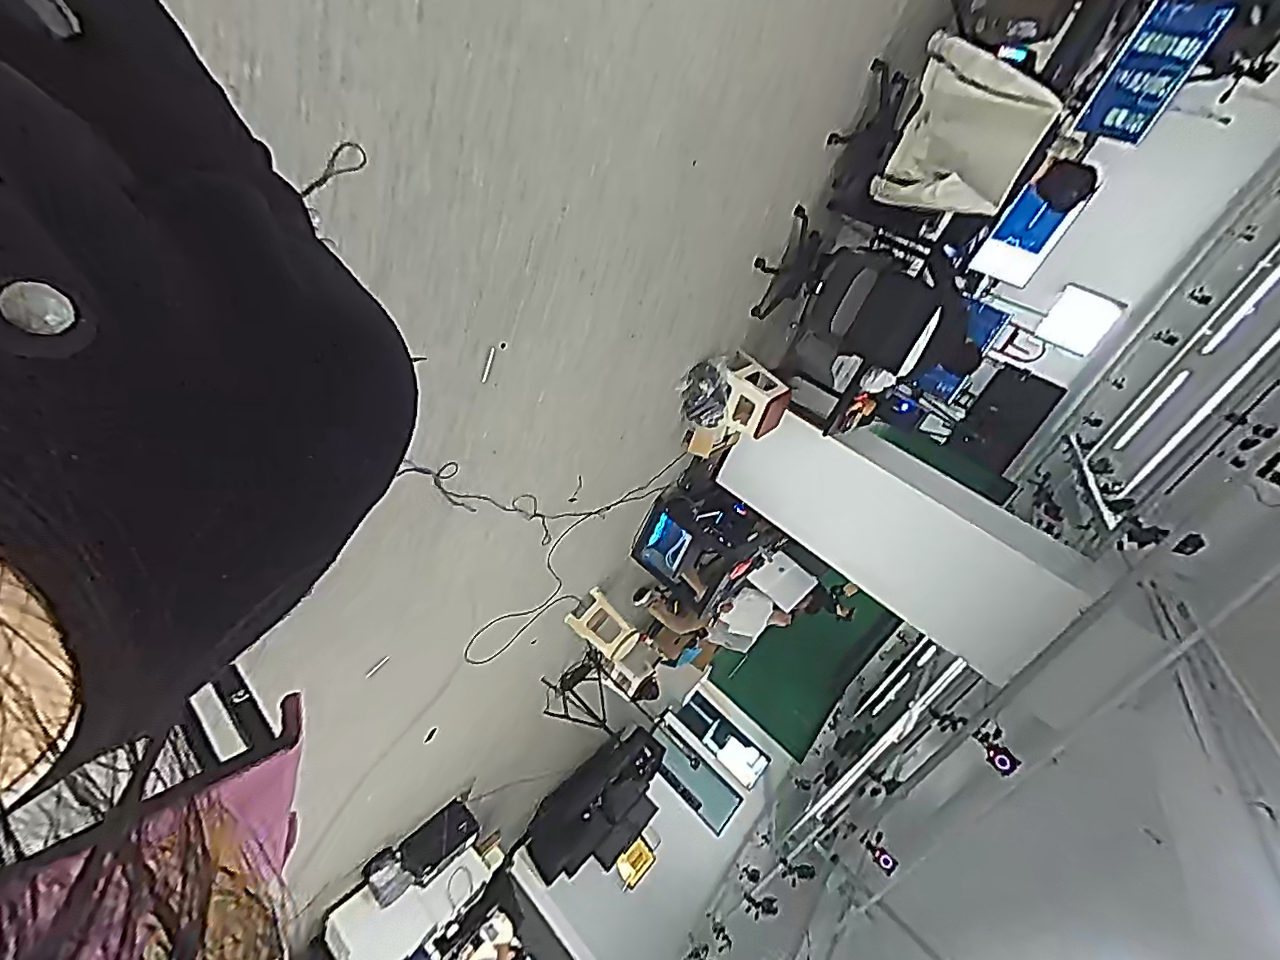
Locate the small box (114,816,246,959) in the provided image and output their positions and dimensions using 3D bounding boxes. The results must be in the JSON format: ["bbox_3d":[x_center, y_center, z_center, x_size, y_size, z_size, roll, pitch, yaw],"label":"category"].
[{"bbox_3d":[-0.943,0.844,1.115,0.168,0.176,0.179,-20,141,-51],"label":"small box"}]

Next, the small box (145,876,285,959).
[{"bbox_3d":[-0.825,0.936,1.052,0.179,0.176,0.168,-21,144,-51],"label":"small box"}]
